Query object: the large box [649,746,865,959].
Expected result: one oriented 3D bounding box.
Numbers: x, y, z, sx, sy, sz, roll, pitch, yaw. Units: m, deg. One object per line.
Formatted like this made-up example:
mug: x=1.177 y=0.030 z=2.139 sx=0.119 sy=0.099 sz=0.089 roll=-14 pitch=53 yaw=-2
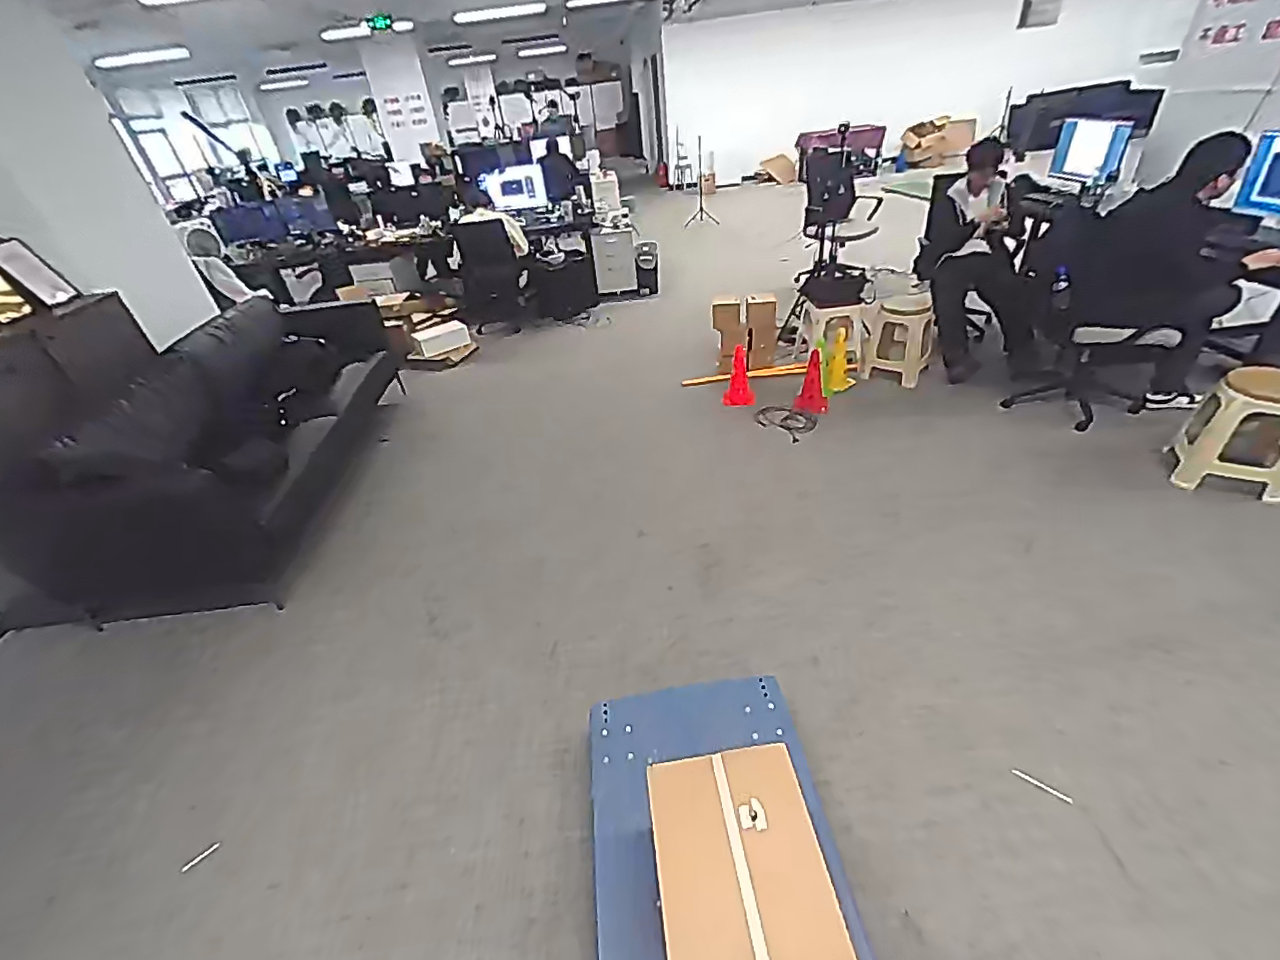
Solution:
large box: x=0.212 y=0.834 z=1.094 sx=0.320 sy=0.320 sz=0.408 roll=-9 pitch=34 yaw=-2
